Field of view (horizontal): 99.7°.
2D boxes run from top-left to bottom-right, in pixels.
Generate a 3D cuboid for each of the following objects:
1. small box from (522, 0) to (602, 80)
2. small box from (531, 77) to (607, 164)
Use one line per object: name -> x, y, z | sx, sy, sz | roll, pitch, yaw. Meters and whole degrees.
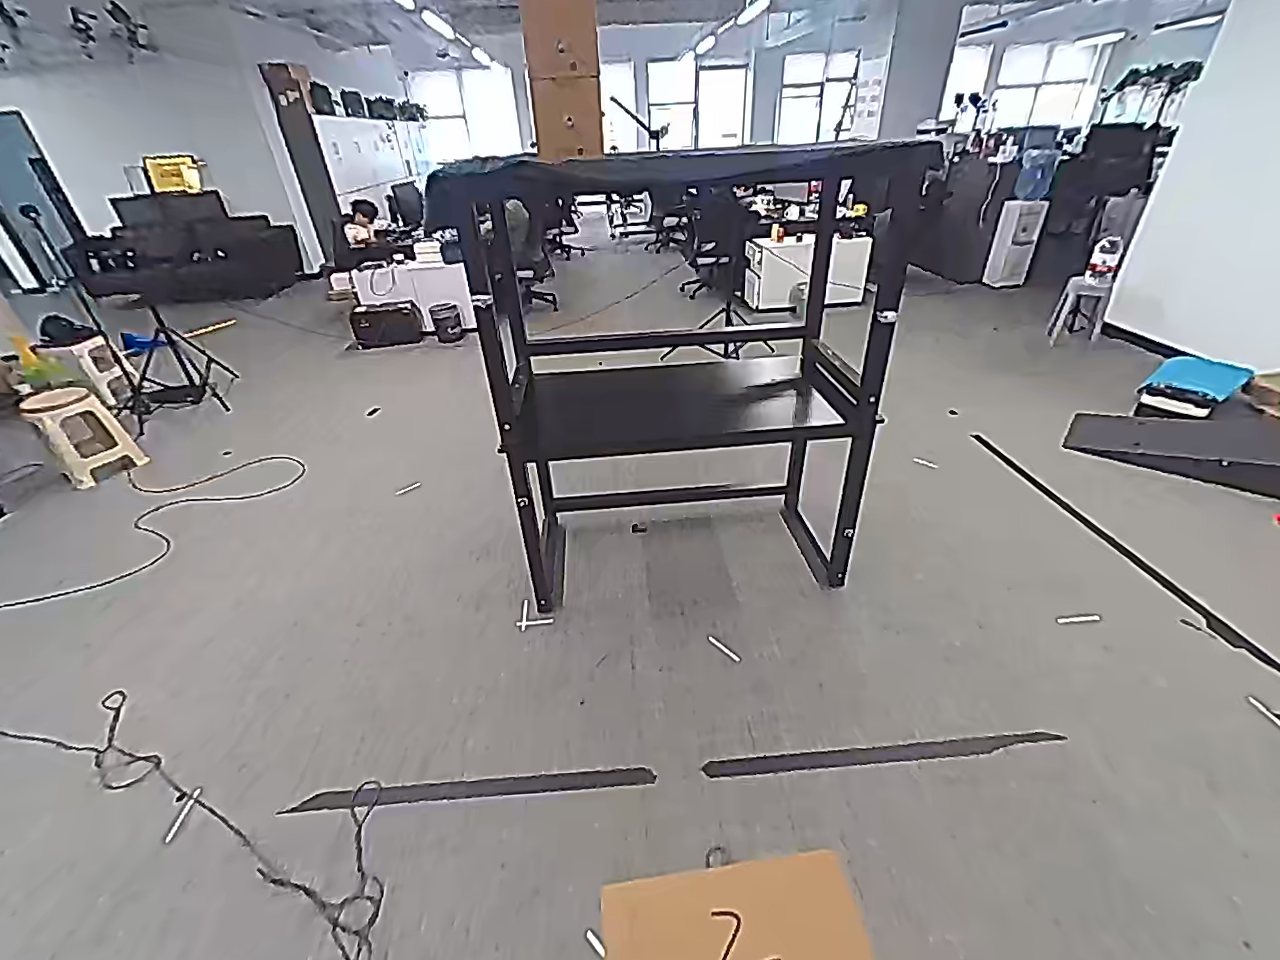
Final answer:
small box -> -0.180, -1.030, 1.260 | 0.168, 0.176, 0.179 | -7, 32, -5
small box -> -0.175, -0.888, 1.344 | 0.168, 0.176, 0.179 | -6, 32, -6
